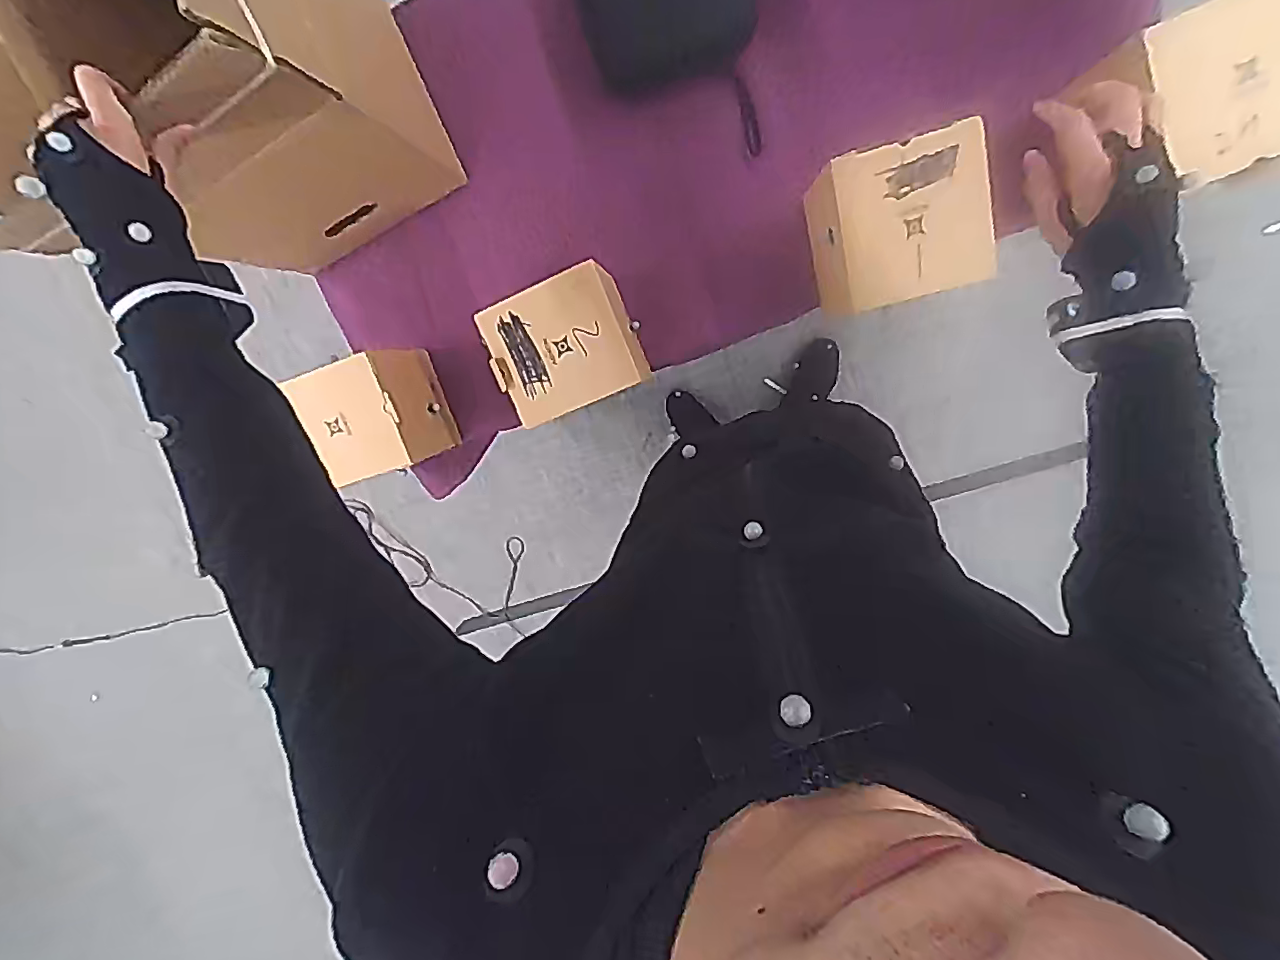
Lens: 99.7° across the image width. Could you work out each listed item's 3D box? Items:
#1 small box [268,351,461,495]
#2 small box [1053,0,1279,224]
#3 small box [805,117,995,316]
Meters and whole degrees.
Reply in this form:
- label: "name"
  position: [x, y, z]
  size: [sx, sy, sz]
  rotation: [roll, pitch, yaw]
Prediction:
- label: "small box"
  position: [-0.414, -0.093, 0.842]
  size: [0.179, 0.176, 0.168]
  rotation: [-17, 101, 9]
- label: "small box"
  position: [0.629, -0.432, 0.633]
  size: [0.168, 0.176, 0.179]
  rotation: [-19, 101, 12]
- label: "small box"
  position: [0.322, -0.321, 0.699]
  size: [0.168, 0.176, 0.179]
  rotation: [-13, 103, 10]
